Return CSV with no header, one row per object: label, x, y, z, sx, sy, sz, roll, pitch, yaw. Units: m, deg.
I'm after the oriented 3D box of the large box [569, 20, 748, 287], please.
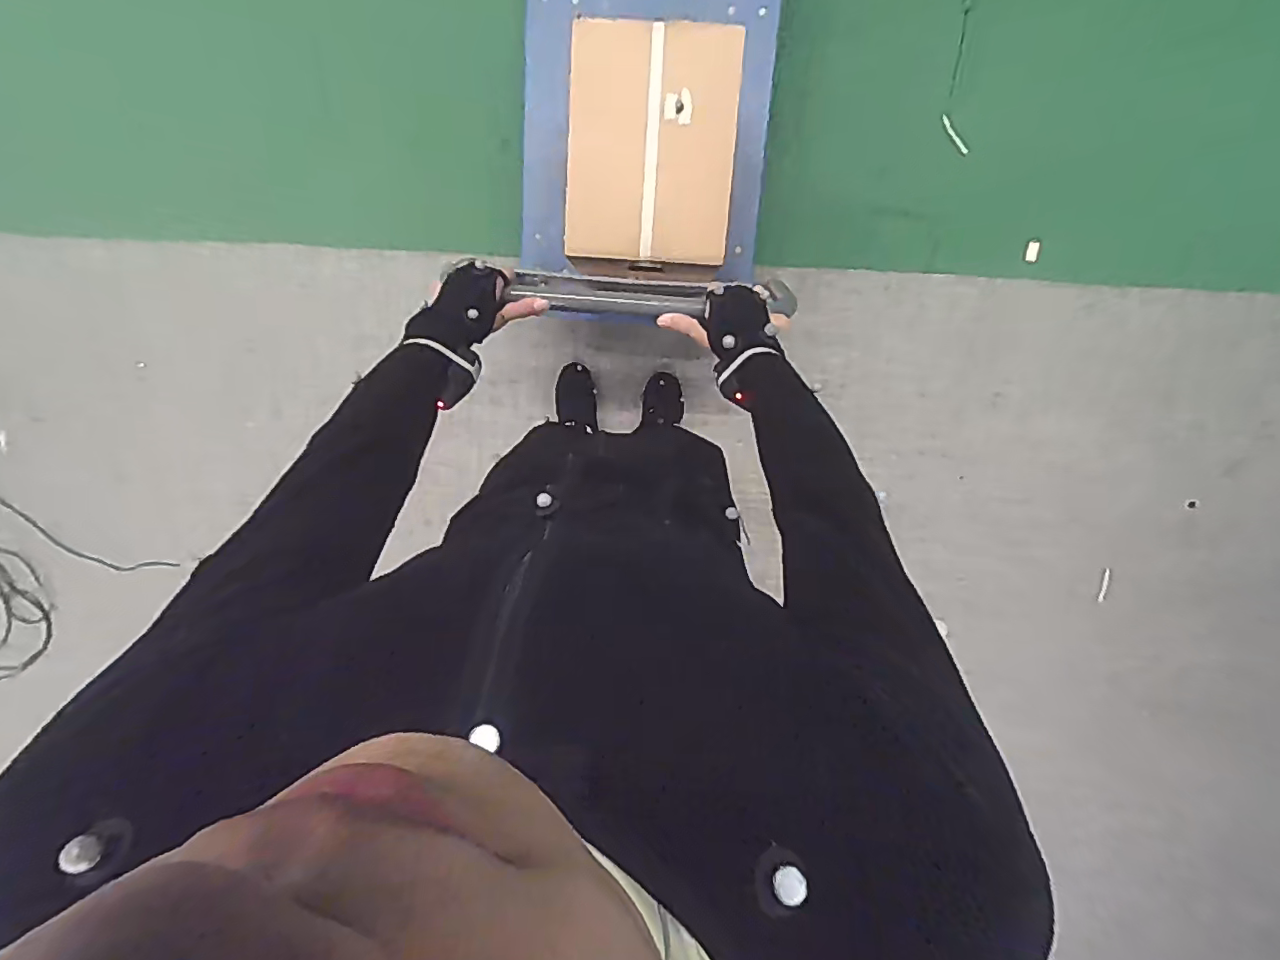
large box,0.033,-0.643,1.142,0.320,0.320,0.408,4,102,0
